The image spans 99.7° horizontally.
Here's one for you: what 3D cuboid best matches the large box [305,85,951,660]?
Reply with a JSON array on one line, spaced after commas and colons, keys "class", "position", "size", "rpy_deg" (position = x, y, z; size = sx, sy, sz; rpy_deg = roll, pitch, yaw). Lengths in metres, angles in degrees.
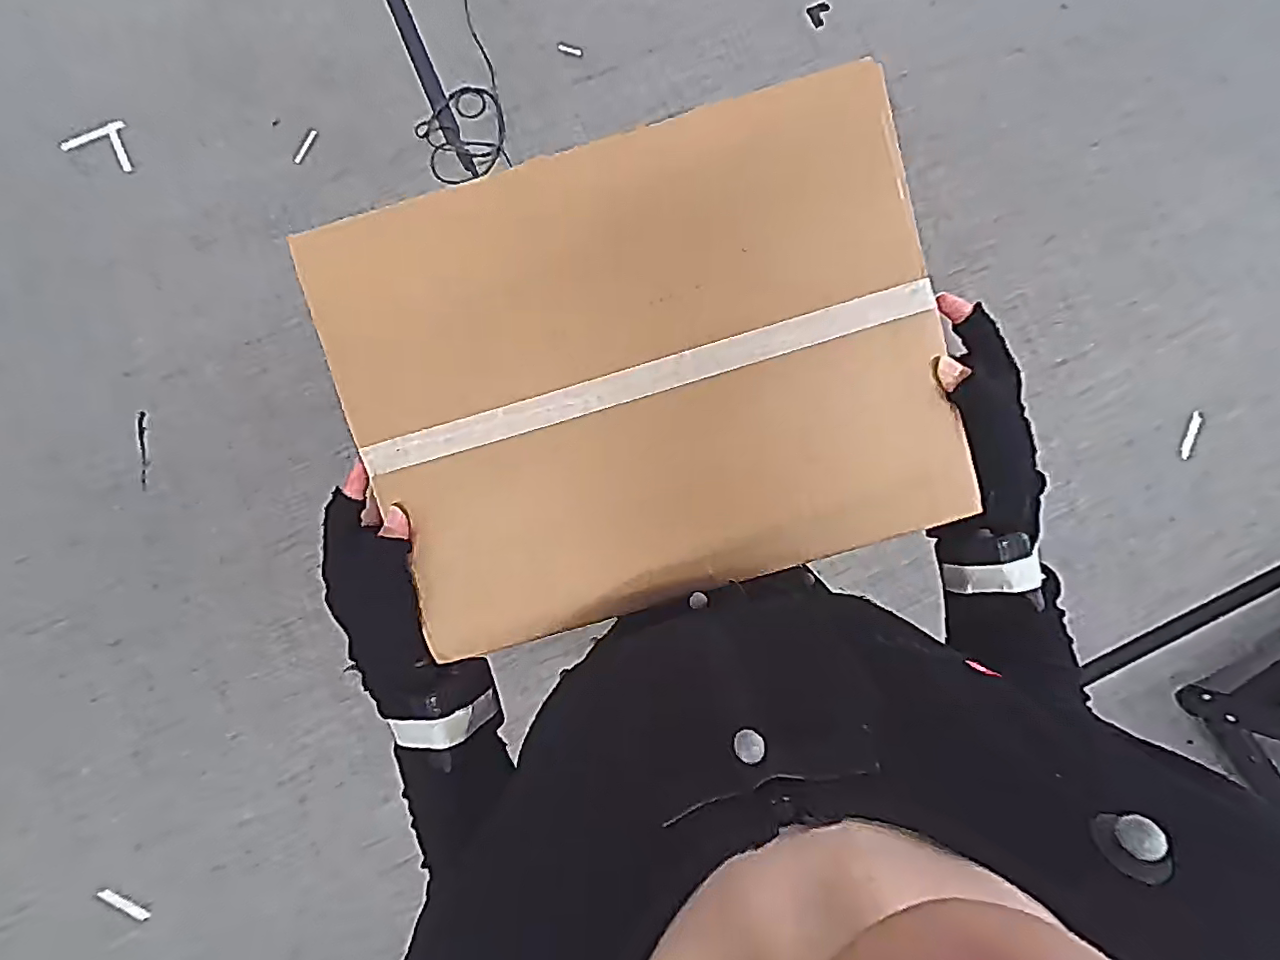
[{"class": "large box", "position": [-0.002, -0.083, 0.532], "size": [0.408, 0.320, 0.320], "rpy_deg": [-16, 95, 2]}]
